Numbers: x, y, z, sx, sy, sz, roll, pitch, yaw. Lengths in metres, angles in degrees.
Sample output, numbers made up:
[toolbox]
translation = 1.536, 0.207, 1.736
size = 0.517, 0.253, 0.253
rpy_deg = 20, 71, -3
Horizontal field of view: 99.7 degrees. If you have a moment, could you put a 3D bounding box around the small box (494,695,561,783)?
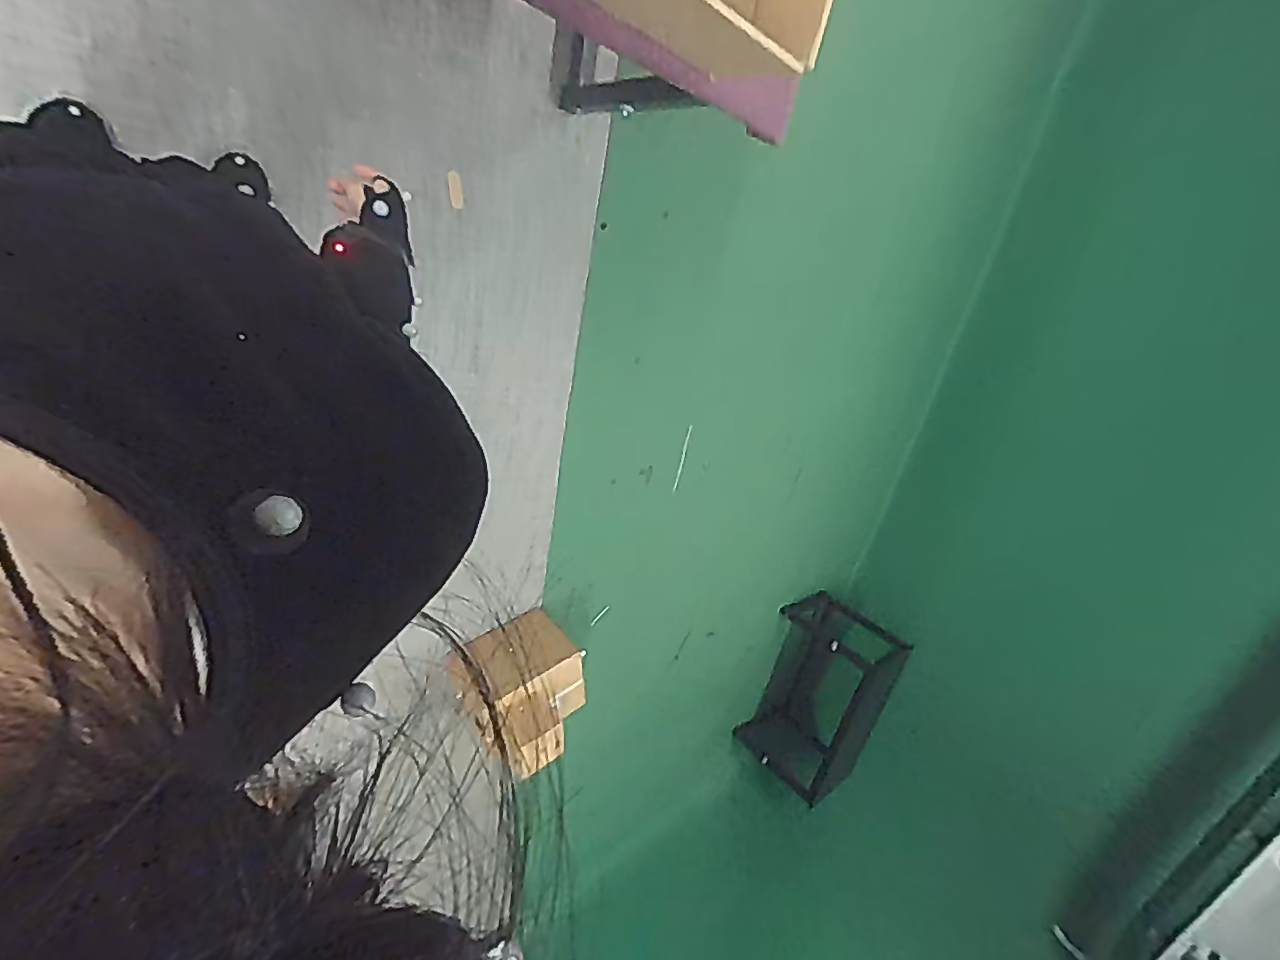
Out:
[small box]
translation = -0.391, 0.884, 1.859
size = 0.179, 0.176, 0.168
rpy_deg = -19, 125, -36

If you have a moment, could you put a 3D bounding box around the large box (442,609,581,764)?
[large box]
translation = -0.484, 0.773, 2.076
size = 0.408, 0.320, 0.320
rpy_deg = -24, 130, -34
